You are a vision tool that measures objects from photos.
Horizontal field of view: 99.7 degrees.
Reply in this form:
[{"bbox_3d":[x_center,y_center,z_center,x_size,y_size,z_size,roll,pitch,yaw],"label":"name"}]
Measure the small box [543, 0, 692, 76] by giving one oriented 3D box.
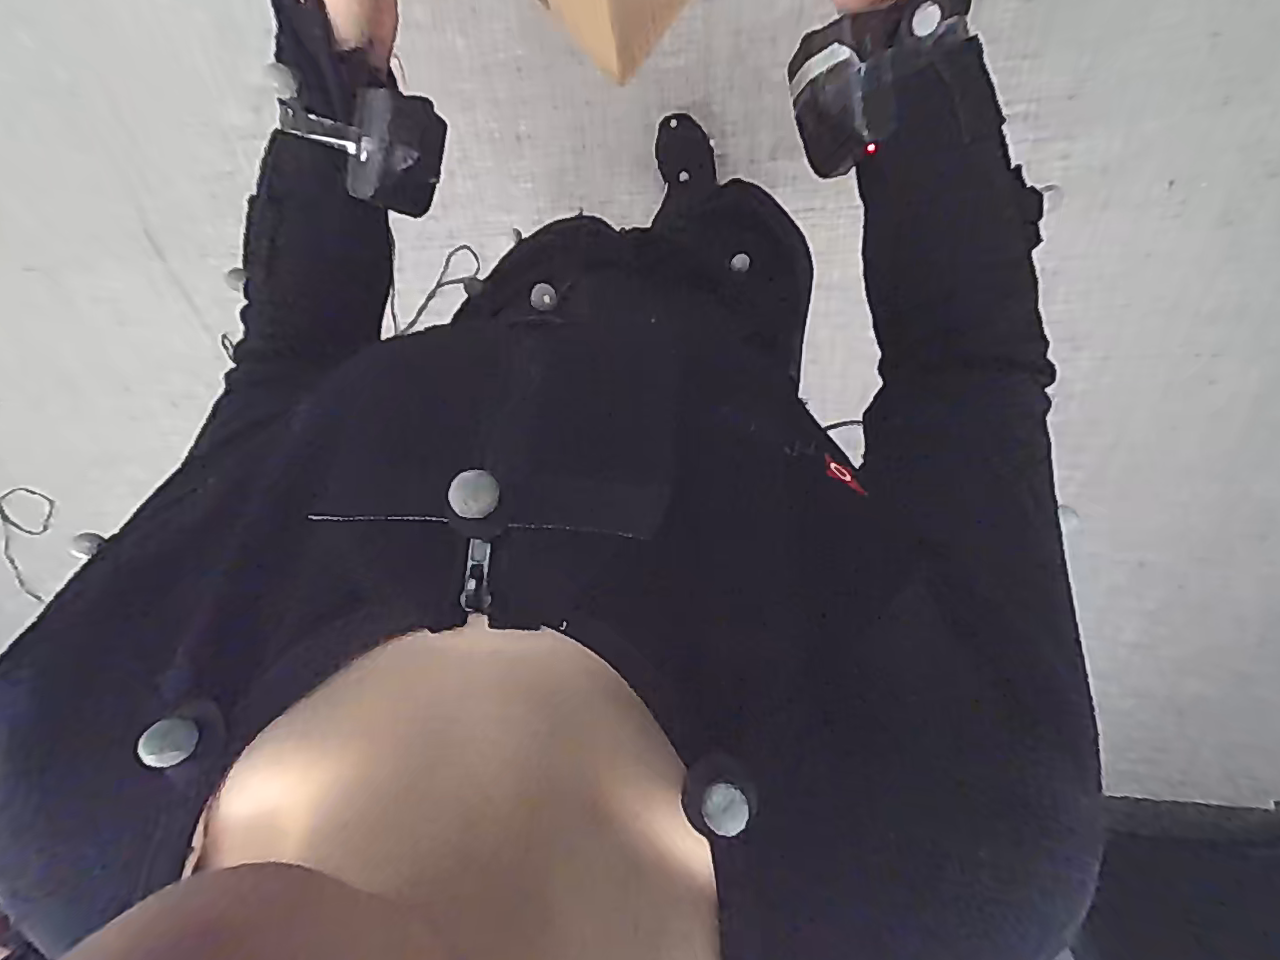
[{"bbox_3d":[-0.016,-0.332,0.234,0.168,0.176,0.179,41,106,-12],"label":"small box"}]
